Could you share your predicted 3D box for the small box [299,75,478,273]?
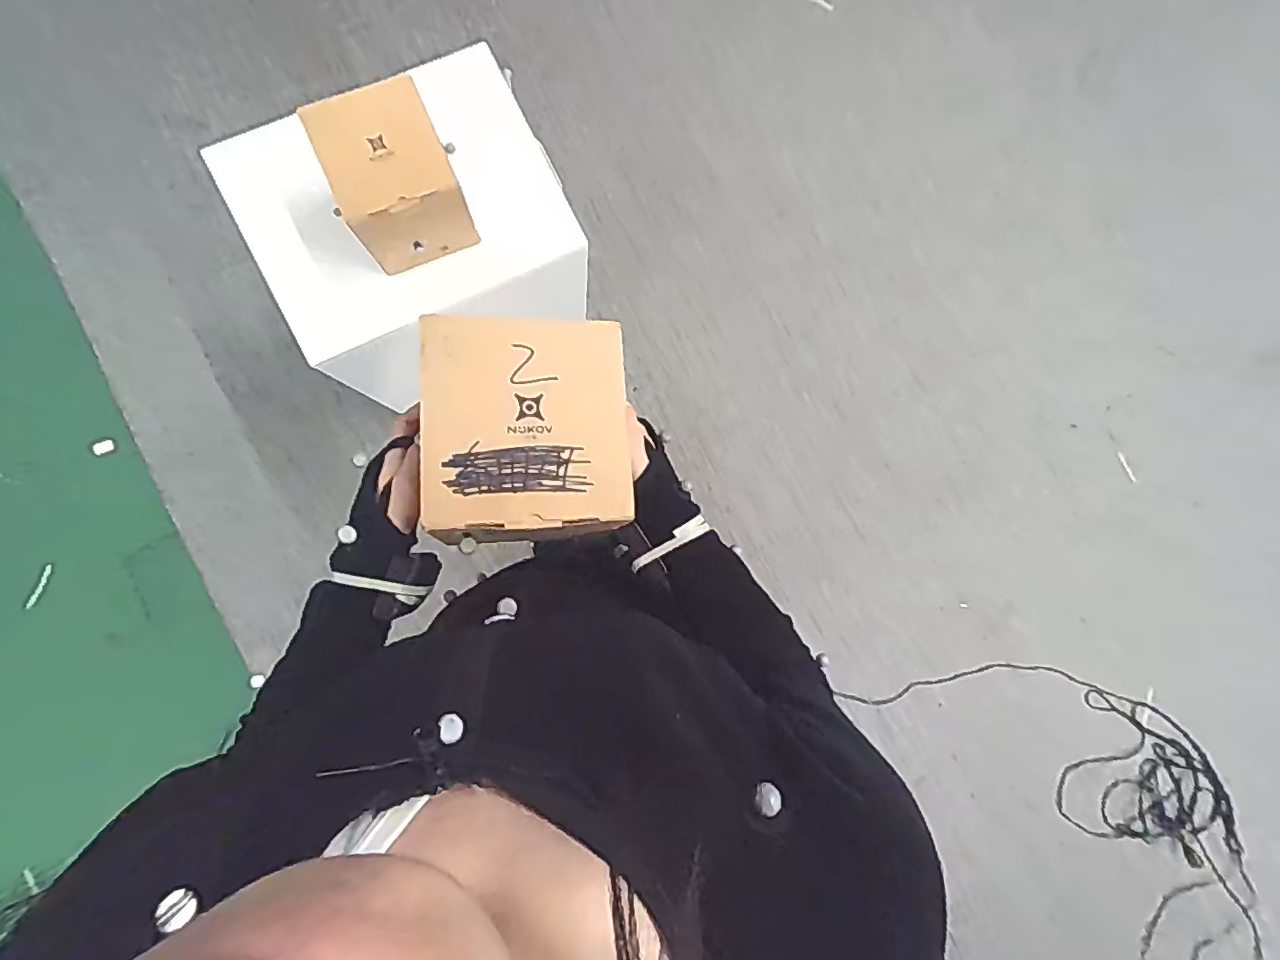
[{"bbox_3d":[-0.367,-0.453,0.824,0.168,0.176,0.179,-25,90,-7],"label":"small box"}]
